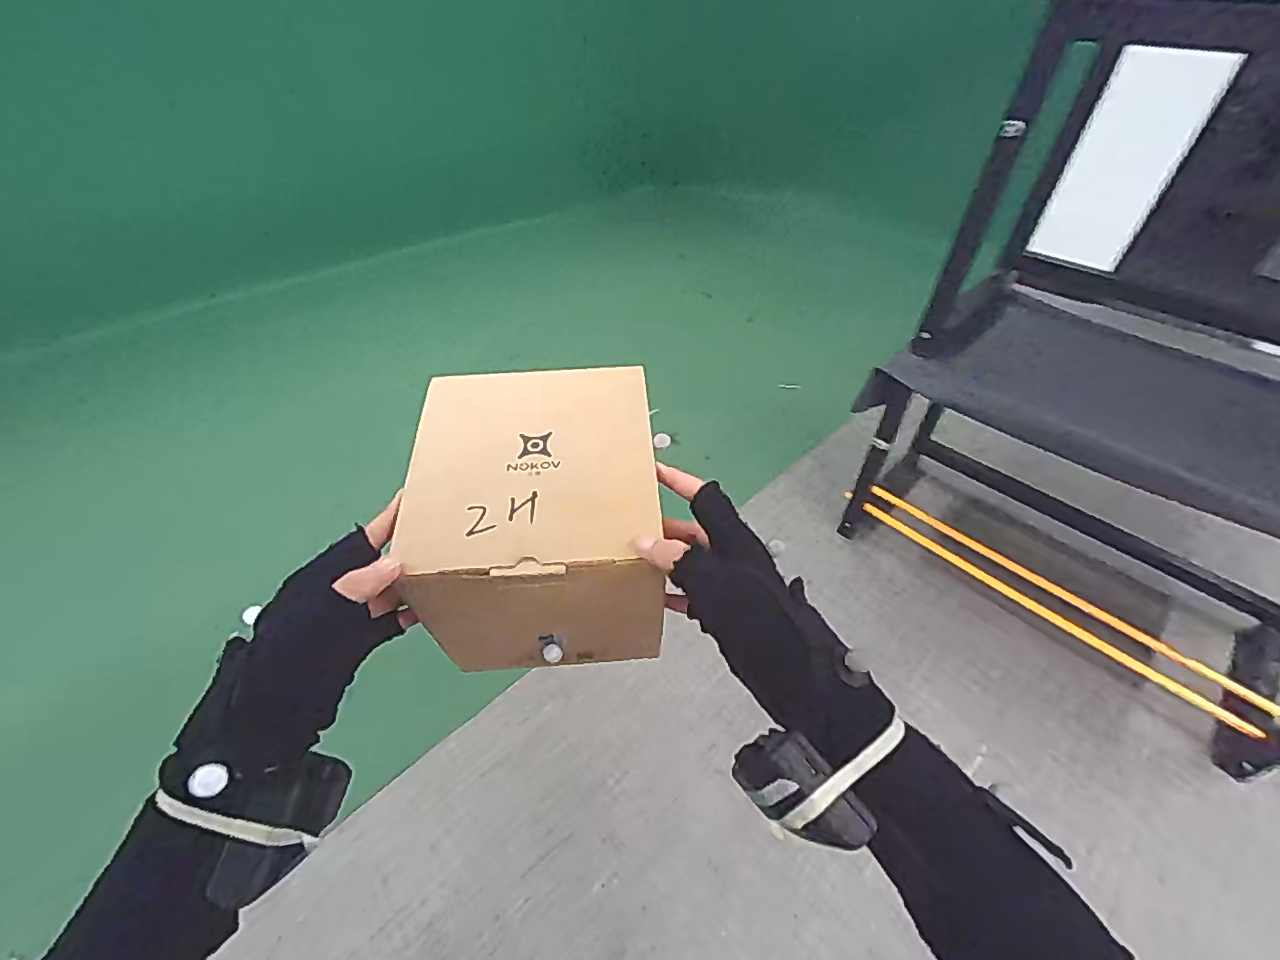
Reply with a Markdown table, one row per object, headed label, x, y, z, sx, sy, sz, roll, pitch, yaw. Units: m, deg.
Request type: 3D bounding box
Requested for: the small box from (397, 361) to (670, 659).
| label | x | y | z | sx | sy | sz | roll | pitch | yaw |
| --- | --- | --- | --- | --- | --- | --- | --- | --- | --- |
| small box | -0.067 | 0.026 | 0.436 | 0.168 | 0.176 | 0.179 | -3 | 51 | -1 |
